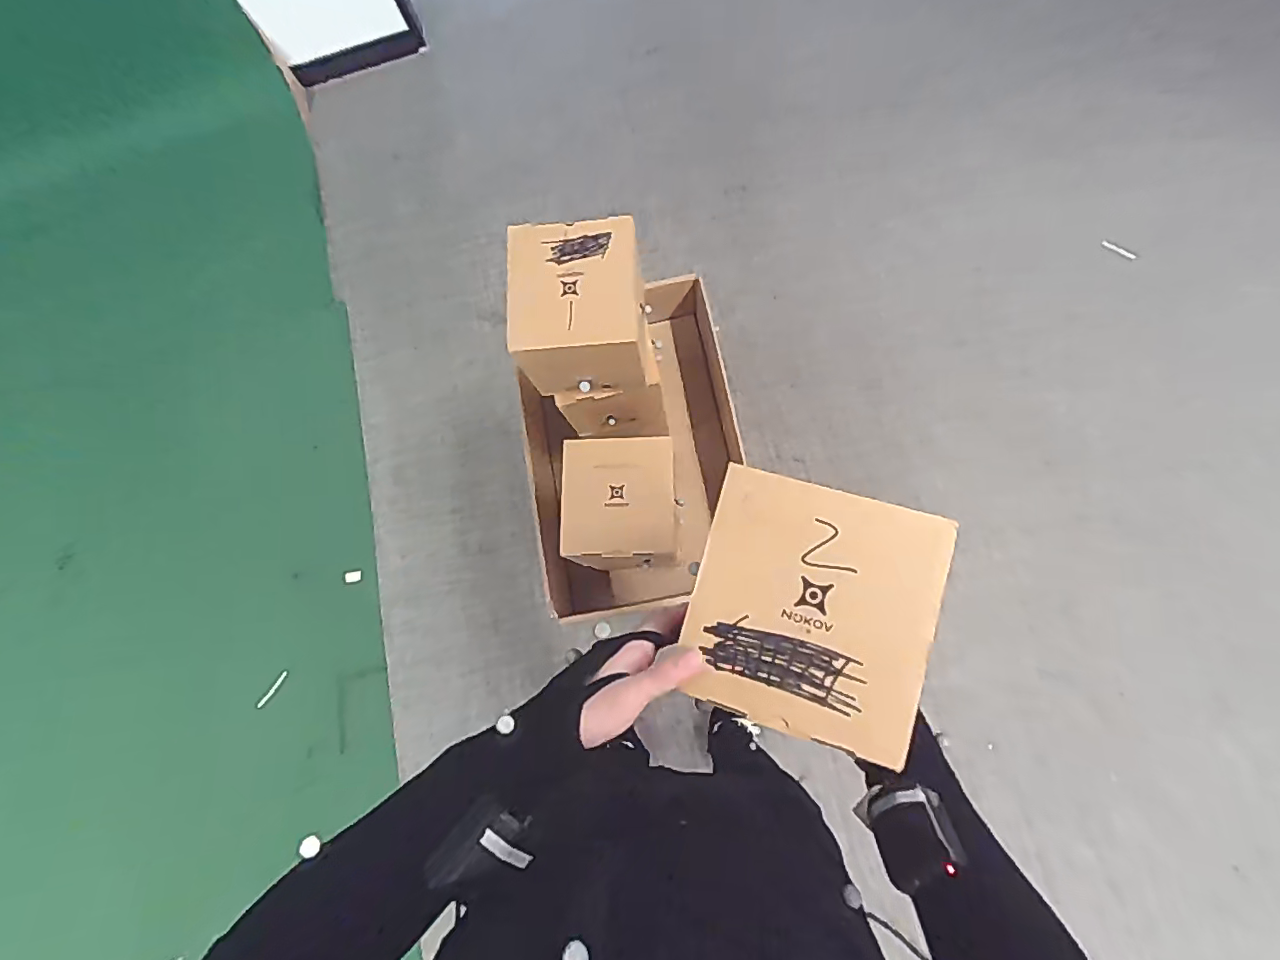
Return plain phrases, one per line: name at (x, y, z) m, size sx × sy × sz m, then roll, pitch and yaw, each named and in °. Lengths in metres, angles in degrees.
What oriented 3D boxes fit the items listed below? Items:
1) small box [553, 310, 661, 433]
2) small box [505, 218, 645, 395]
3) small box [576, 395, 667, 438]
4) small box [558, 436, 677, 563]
small box at (-0.061, -0.198, 0.922) m, size 0.168 × 0.176 × 0.179 m, roll -12°, pitch 78°, yaw 2°
small box at (-0.083, -0.235, 0.763) m, size 0.168 × 0.176 × 0.179 m, roll -3°, pitch 79°, yaw 5°
small box at (-0.044, -0.167, 1.080) m, size 0.168 × 0.176 × 0.179 m, roll -12°, pitch 77°, yaw 4°
small box at (-0.027, 0.040, 0.859) m, size 0.168 × 0.176 × 0.179 m, roll -1°, pitch 75°, yaw 5°
